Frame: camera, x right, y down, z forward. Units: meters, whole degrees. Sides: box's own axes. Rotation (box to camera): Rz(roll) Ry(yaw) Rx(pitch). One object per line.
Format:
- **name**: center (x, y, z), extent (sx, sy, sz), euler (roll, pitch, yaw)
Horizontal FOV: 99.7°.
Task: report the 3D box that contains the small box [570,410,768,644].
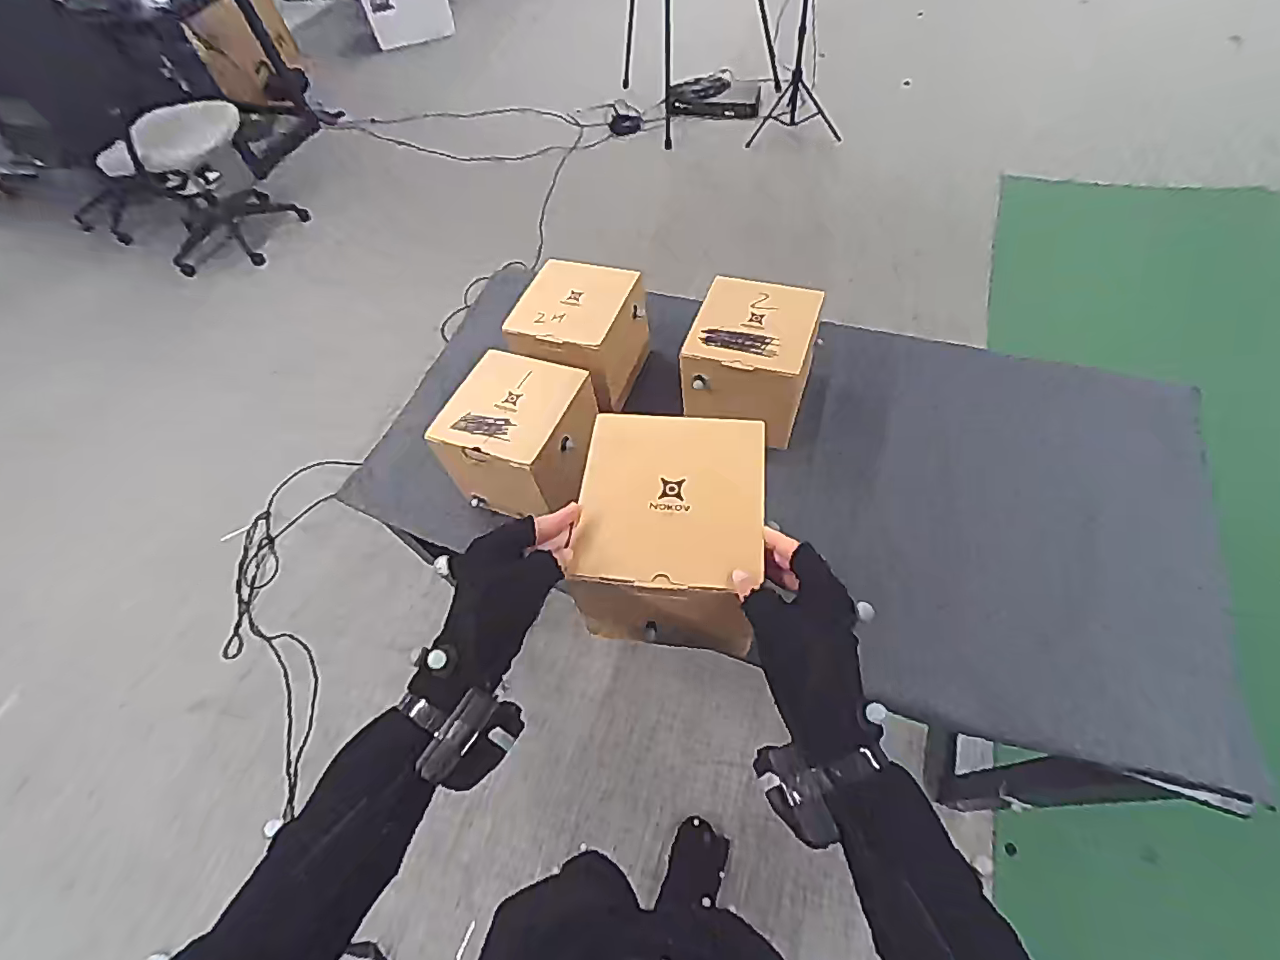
- **small box**: center (0.036, 0.052, 0.553), extent (0.168, 0.176, 0.179), euler (4, 59, 7)
